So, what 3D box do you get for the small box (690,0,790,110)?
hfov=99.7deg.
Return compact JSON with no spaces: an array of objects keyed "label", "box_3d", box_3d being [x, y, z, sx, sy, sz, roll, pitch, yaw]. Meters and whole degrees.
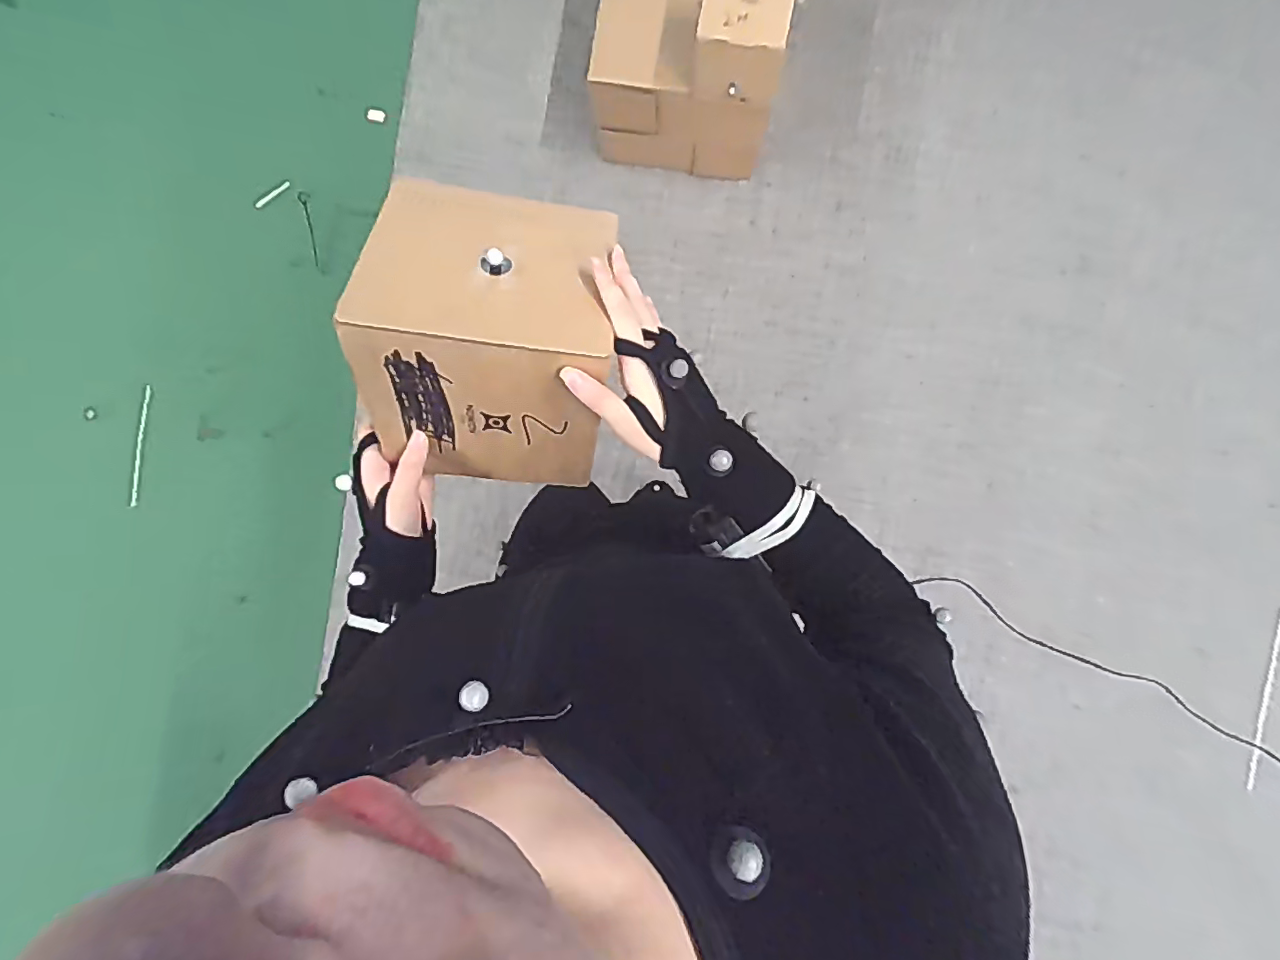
[{"label":"small box","box_3d":[0.195,-0.882,1.068,0.168,0.176,0.179,11,92,3]}]
